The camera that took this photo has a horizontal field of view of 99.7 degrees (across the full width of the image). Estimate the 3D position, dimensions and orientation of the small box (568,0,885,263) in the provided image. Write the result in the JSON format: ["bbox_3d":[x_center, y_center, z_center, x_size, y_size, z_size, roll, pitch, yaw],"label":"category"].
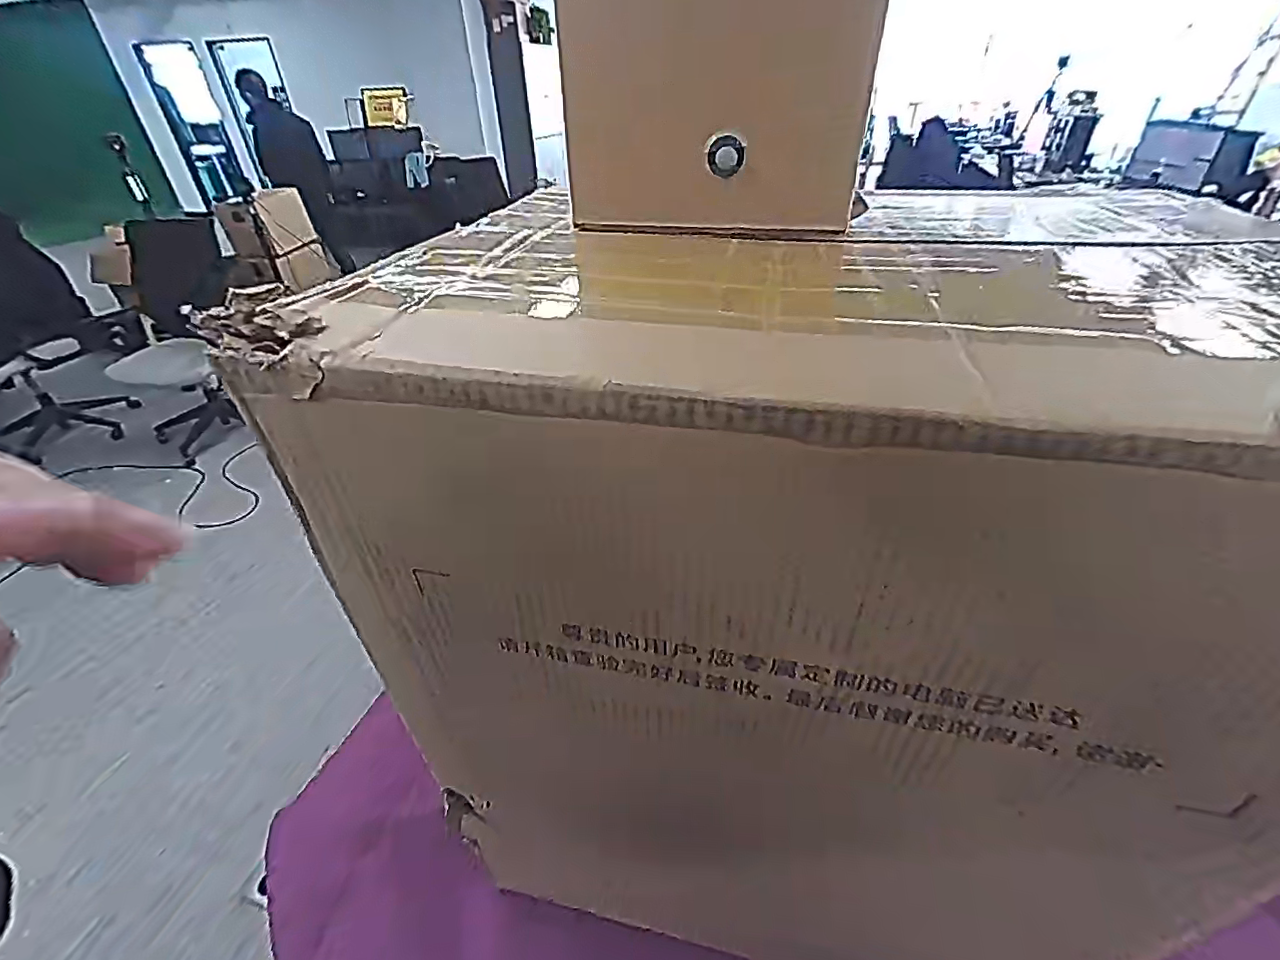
[{"bbox_3d":[0.056,-0.261,0.372,0.179,0.176,0.168,6,37,10],"label":"small box"}]
